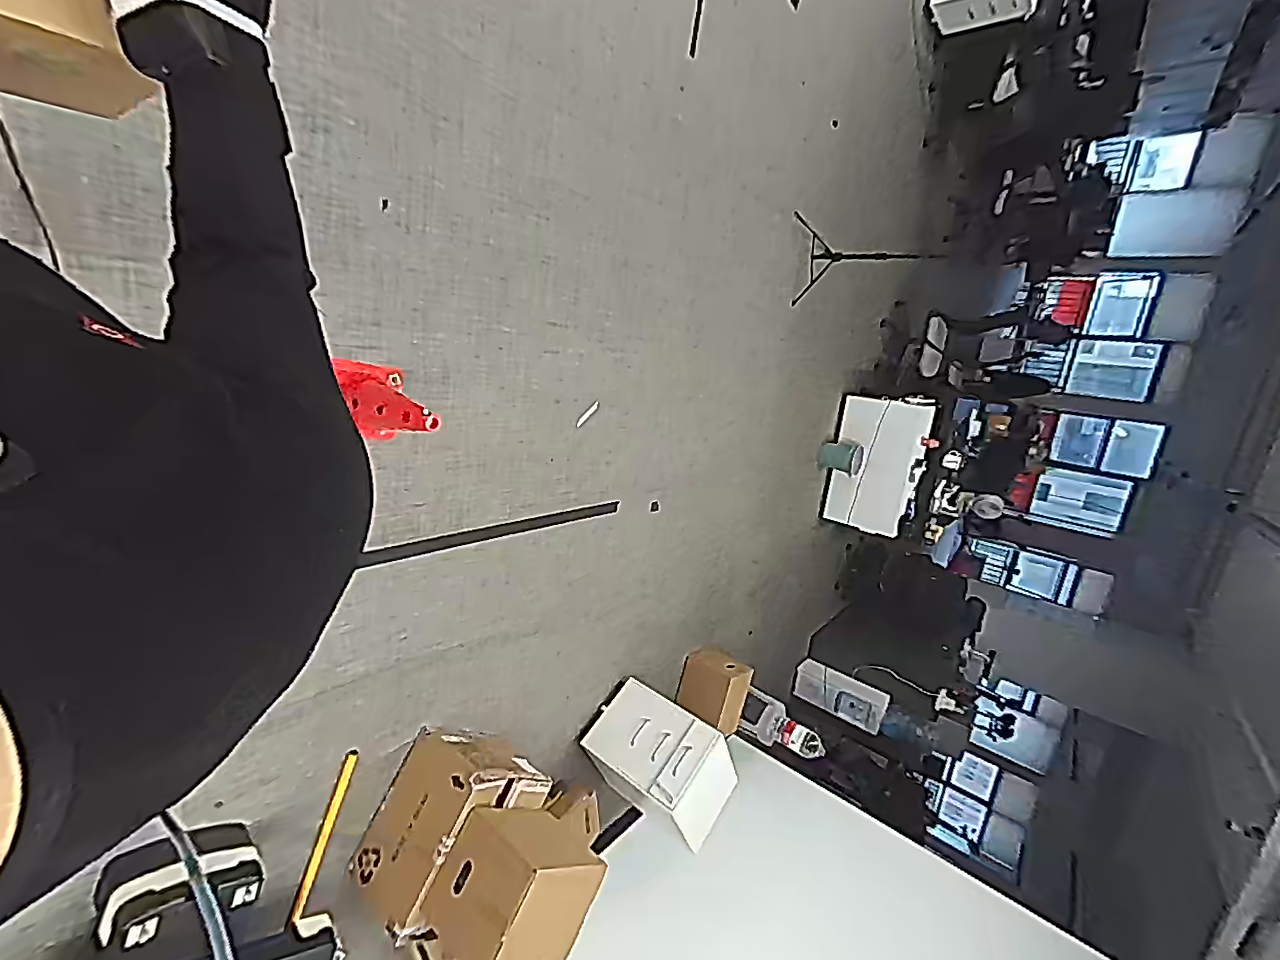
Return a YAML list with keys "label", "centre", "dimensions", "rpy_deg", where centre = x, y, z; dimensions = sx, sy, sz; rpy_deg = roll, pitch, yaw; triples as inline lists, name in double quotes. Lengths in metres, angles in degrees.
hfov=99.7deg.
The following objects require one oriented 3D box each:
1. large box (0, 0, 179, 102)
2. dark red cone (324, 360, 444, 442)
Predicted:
- label: "large box"
  centre: [-0.555, -0.459, 0.282]
  dimensions: [0.408, 0.320, 0.320]
  rpy_deg: [-14, 118, -49]
- label: "dark red cone"
  centre: [-0.596, -0.162, 1.319]
  dimensions: [0.201, 0.394, 0.202]
  rpy_deg: [1, 103, -51]
